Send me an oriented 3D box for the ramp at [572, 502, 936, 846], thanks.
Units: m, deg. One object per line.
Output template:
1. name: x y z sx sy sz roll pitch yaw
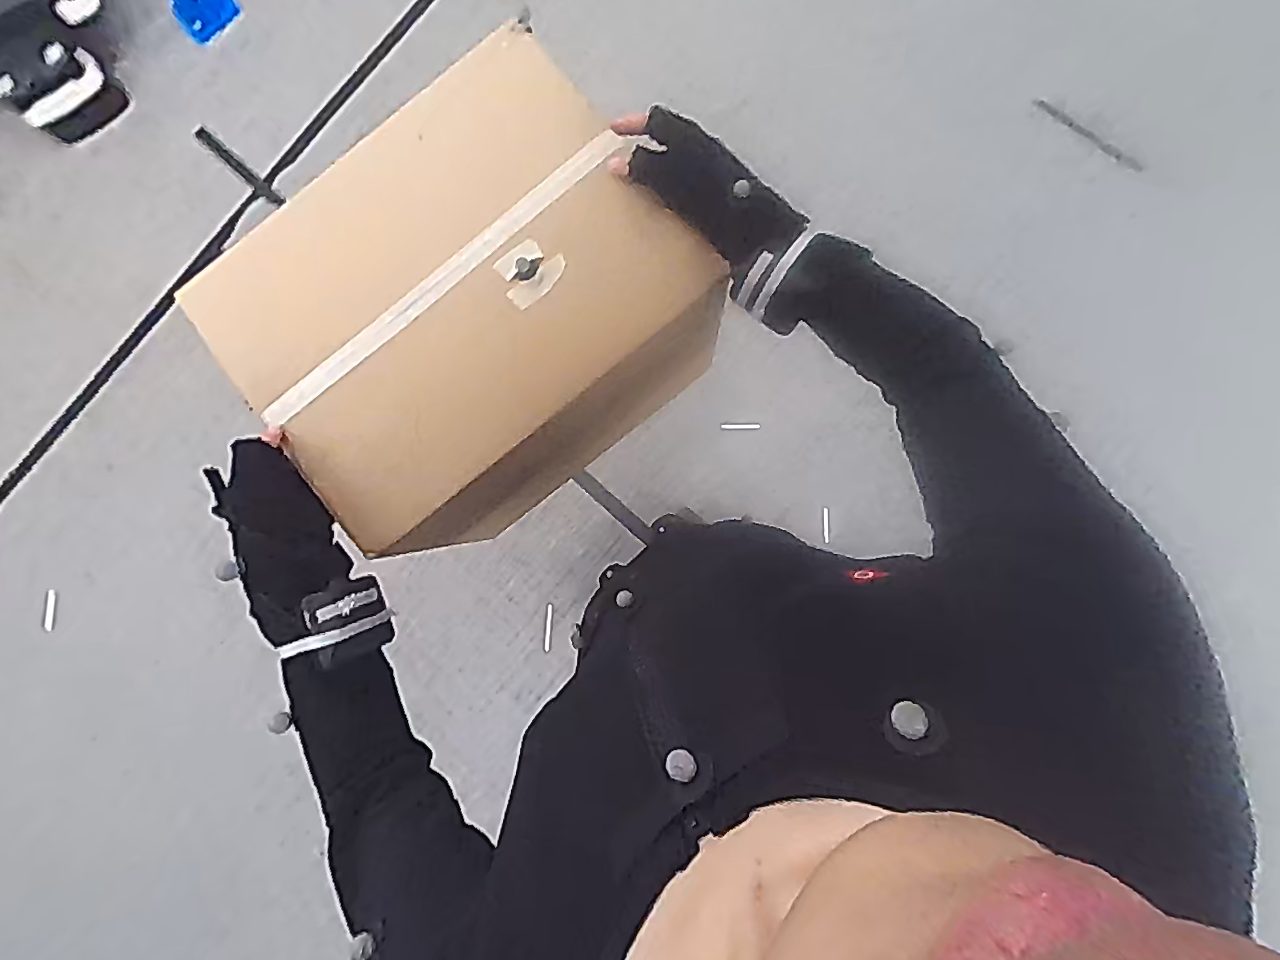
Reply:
1. ramp: 0.340 0.556 1.534 0.991 0.206 0.509 38 88 6

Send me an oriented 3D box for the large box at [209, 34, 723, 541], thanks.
1. large box: -0.158 -0.170 0.645 0.408 0.320 0.320 -38 85 1
